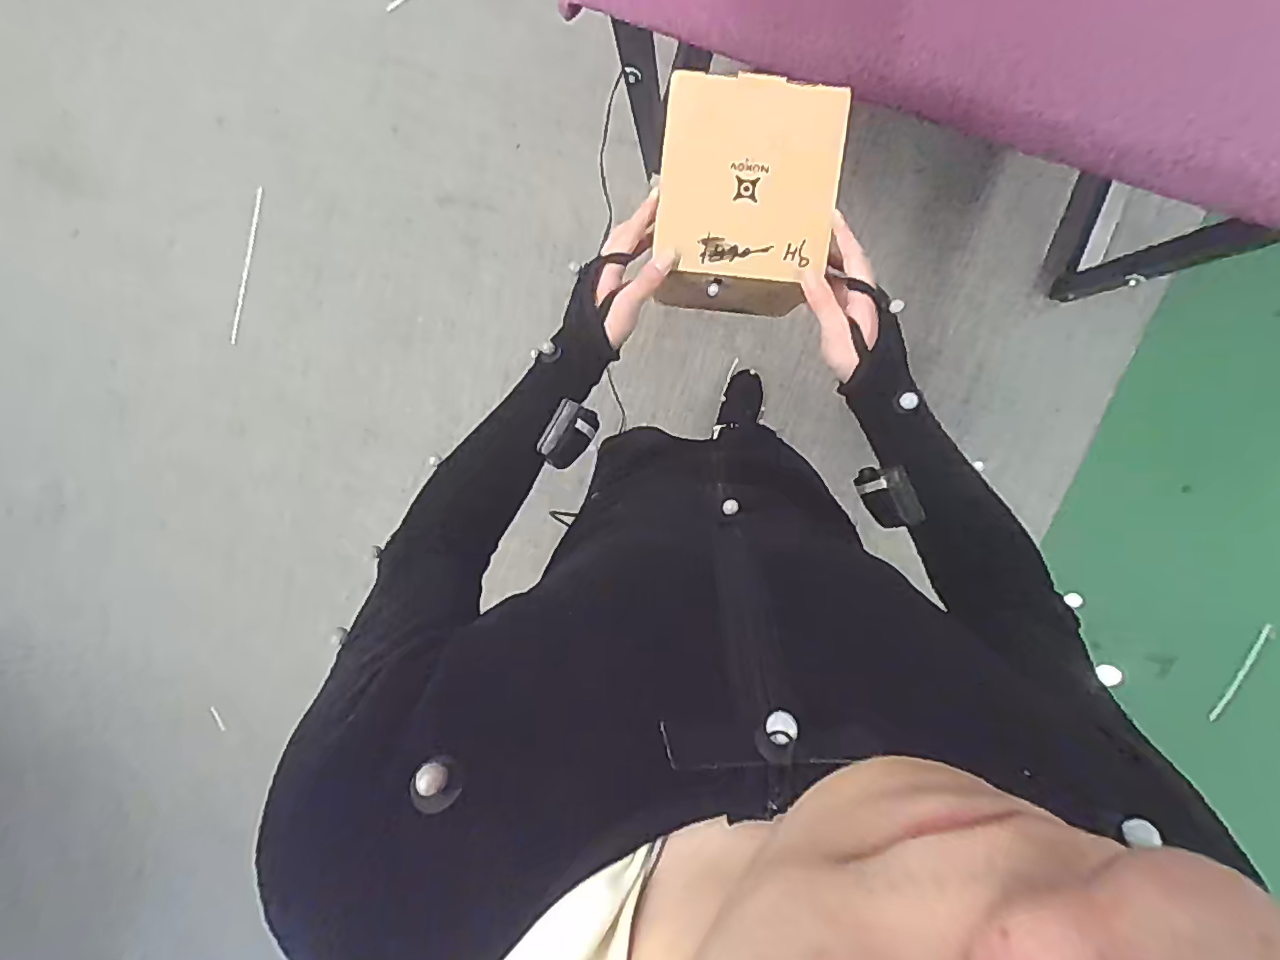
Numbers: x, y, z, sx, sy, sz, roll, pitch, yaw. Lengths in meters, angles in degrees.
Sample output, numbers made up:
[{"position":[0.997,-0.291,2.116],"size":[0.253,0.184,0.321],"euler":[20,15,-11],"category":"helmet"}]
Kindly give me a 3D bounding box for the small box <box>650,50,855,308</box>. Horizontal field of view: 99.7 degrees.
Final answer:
[{"position":[0.102,-0.294,0.564],"size":[0.168,0.176,0.179],"euler":[7,96,2],"category":"small box"}]
